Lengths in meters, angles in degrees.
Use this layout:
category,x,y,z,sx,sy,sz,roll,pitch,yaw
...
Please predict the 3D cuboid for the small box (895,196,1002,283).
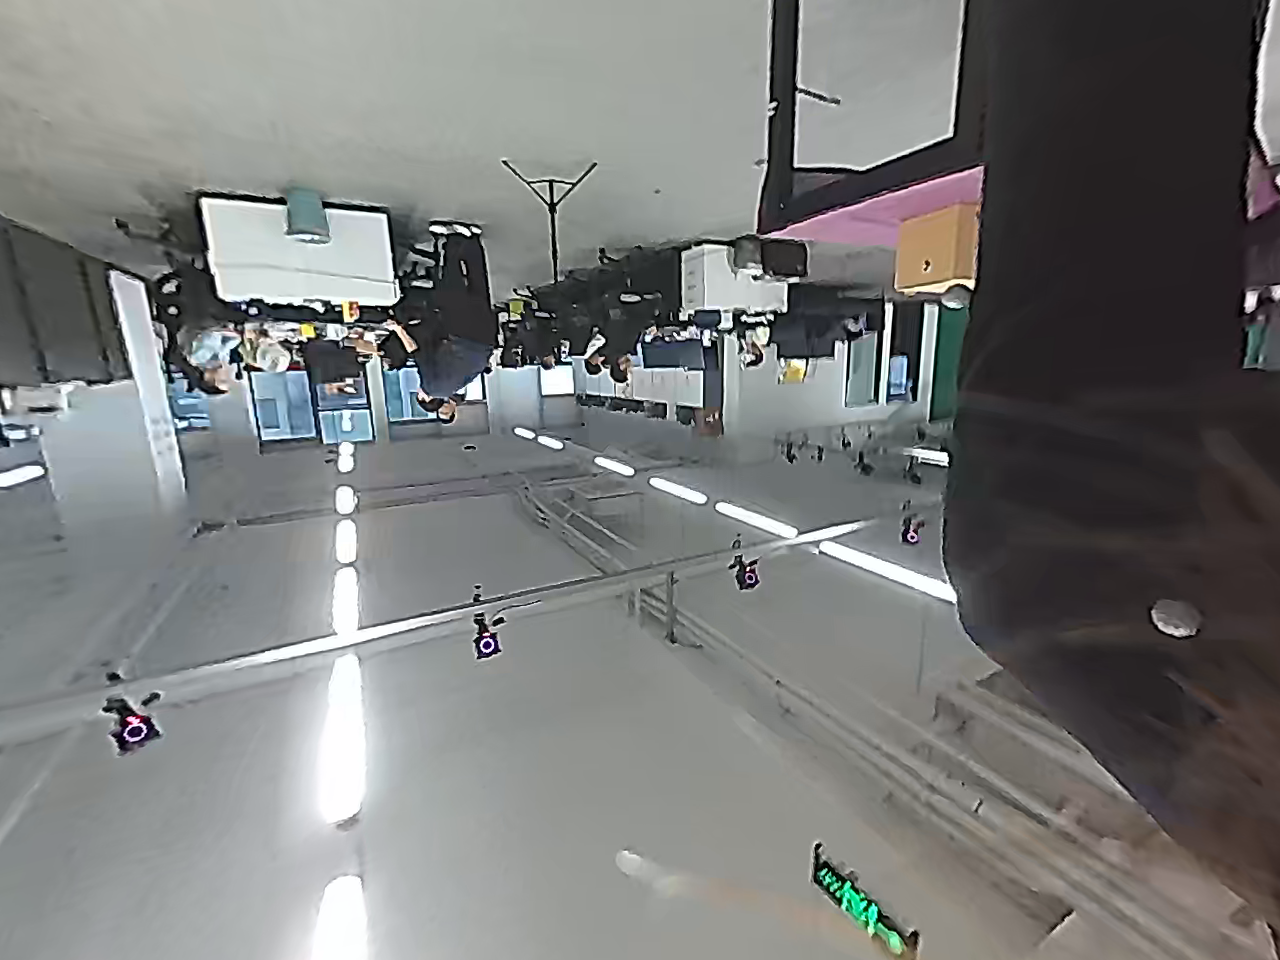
category,x,y,z,sx,sy,sz,roll,pitch,yaw
small box,0.760,-0.588,1.335,0.168,0.176,0.179,-7,-166,-21
